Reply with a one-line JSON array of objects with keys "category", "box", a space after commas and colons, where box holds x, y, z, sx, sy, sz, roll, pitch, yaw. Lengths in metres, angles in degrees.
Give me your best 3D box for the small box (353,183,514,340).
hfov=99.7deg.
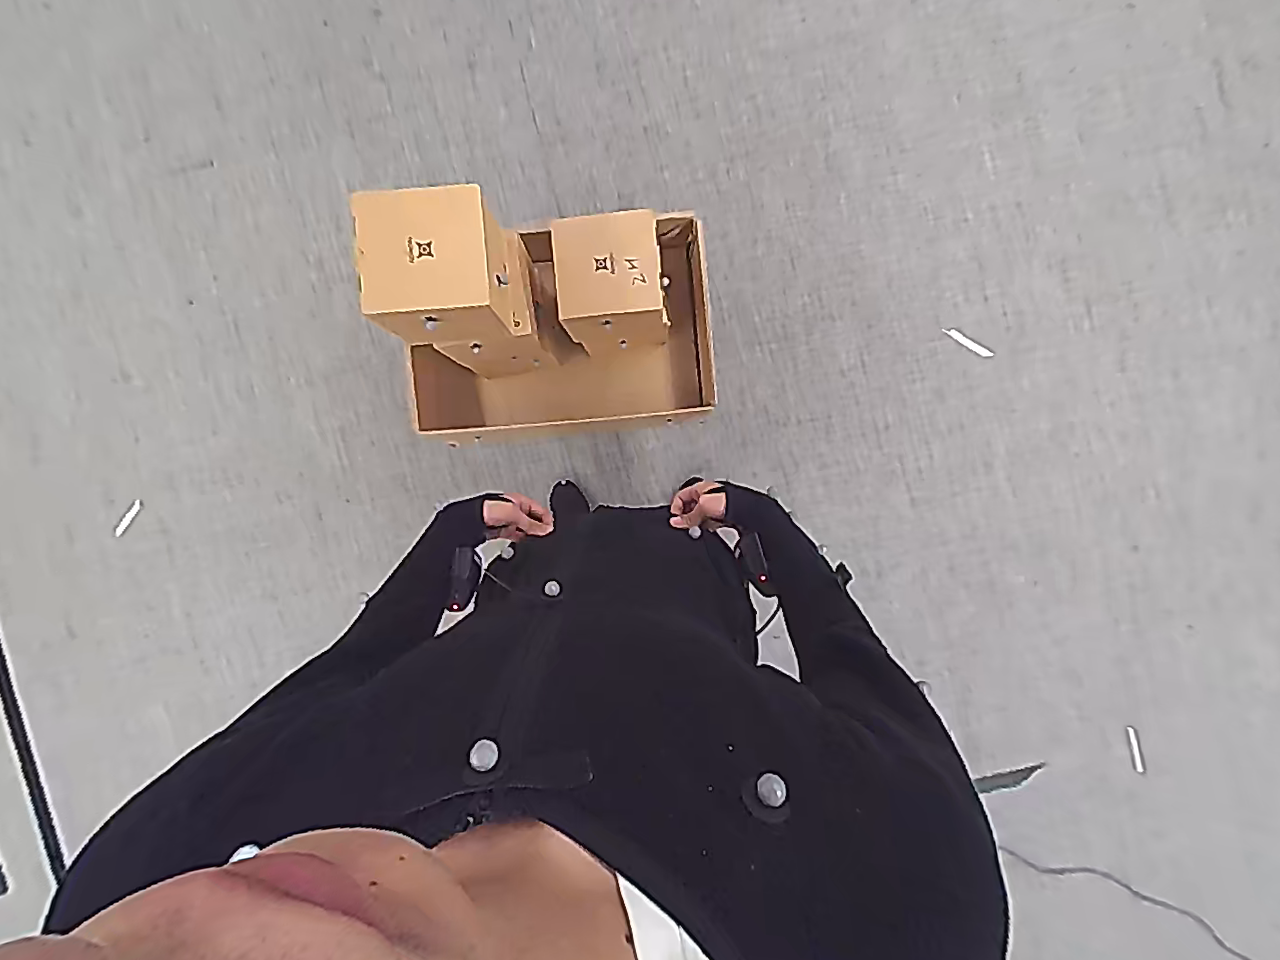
[{"category": "small box", "box": [-0.291, -0.312, 0.803, 0.179, 0.176, 0.168, -5, 91, 0]}]
